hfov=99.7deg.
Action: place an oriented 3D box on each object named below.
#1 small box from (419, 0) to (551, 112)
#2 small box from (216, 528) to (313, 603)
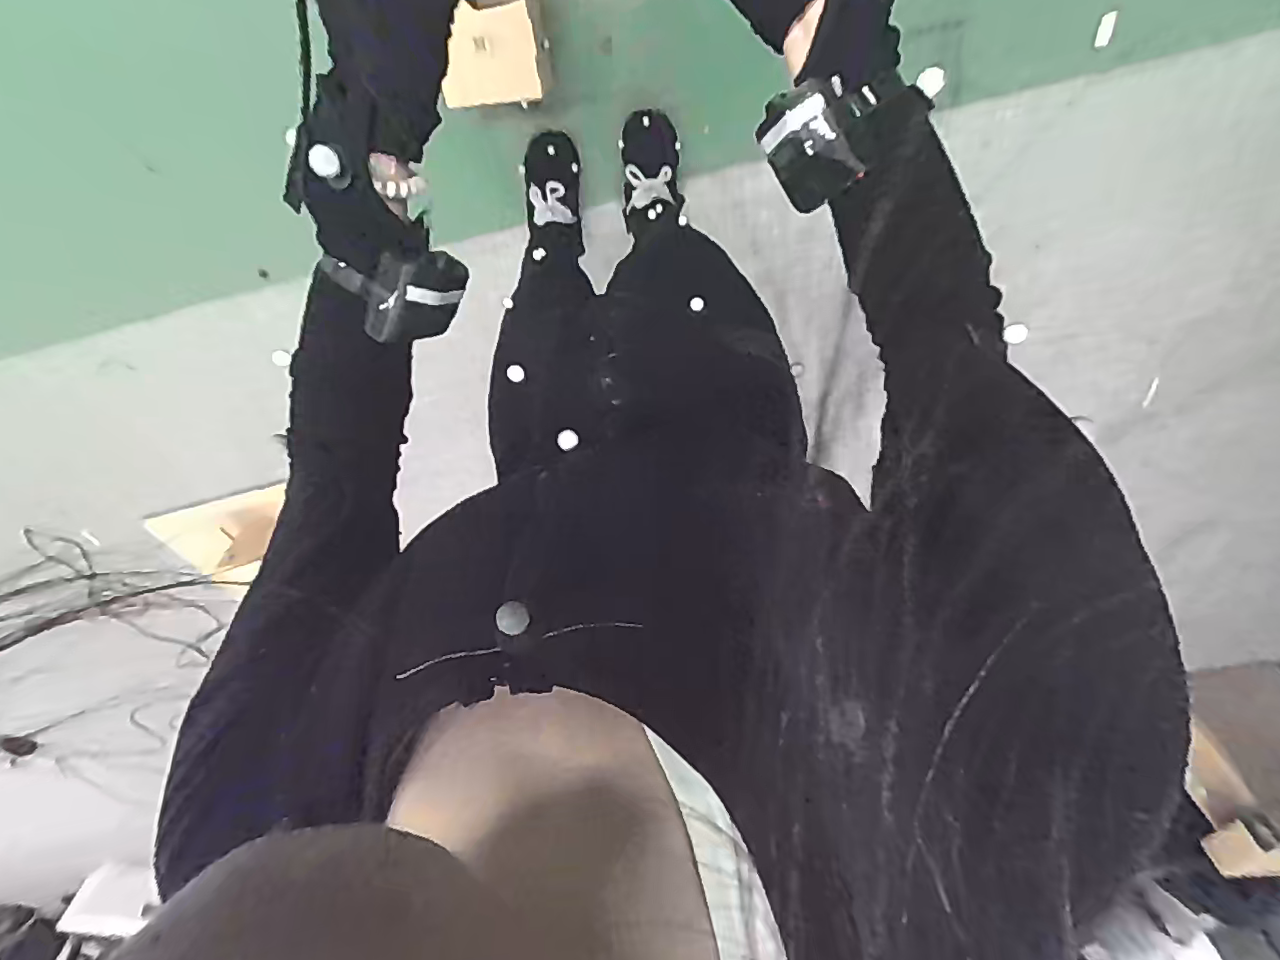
[{"bbox_3d":[-0.267,-0.777,0.974,0.179,0.176,0.168,-6,130,2],"label":"small box"},{"bbox_3d":[-1.253,0.286,1.819,0.179,0.176,0.168,-14,131,9],"label":"small box"}]
